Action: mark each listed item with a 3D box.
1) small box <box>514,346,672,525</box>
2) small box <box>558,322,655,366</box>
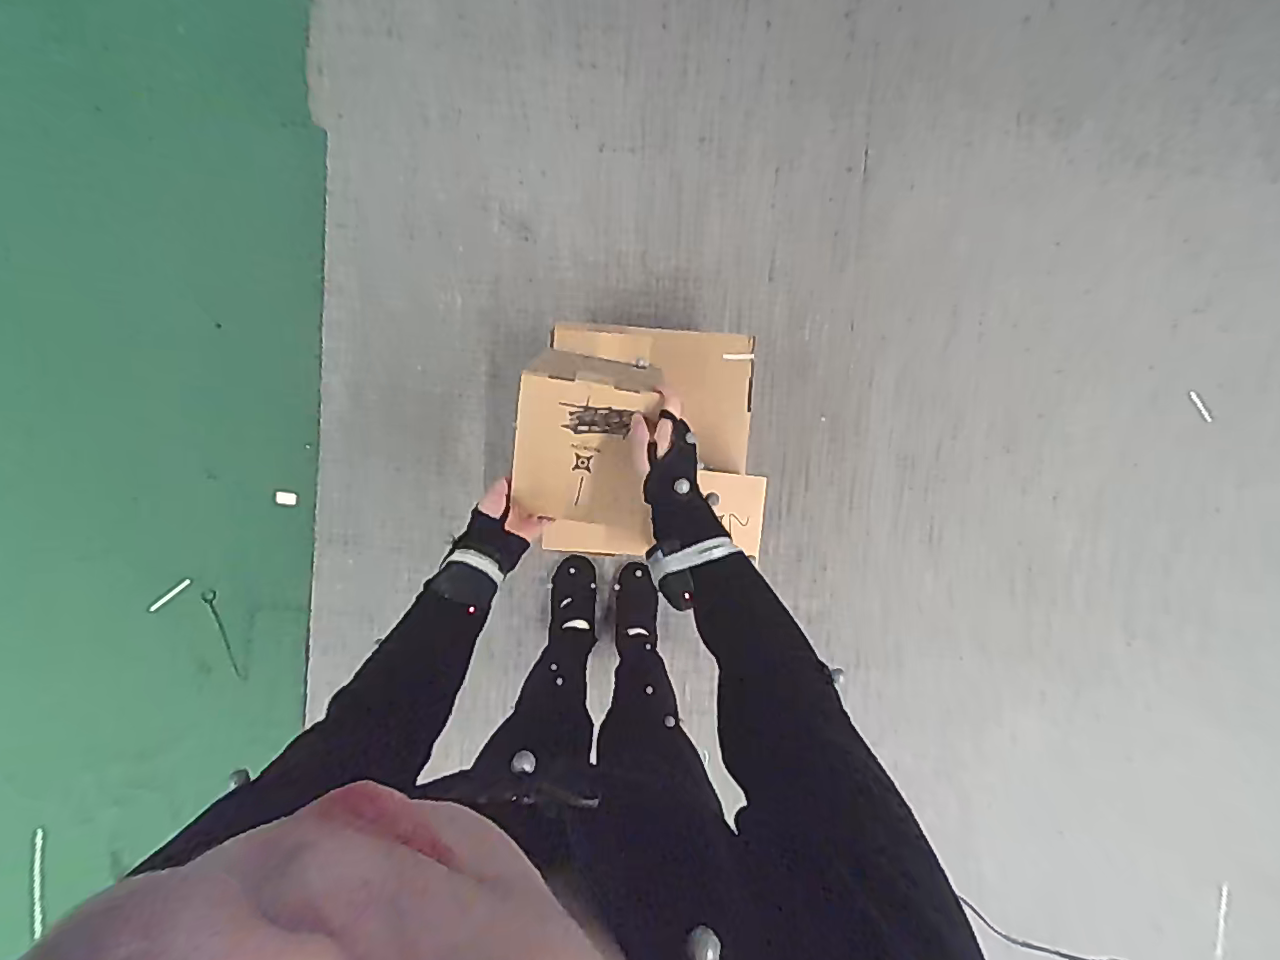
[{"bbox_3d":[-0.059,-0.066,0.704,0.168,0.176,0.179,9,113,-4],"label":"small box"},{"bbox_3d":[-0.065,-0.175,0.993,0.168,0.176,0.179,4,90,-2],"label":"small box"}]
